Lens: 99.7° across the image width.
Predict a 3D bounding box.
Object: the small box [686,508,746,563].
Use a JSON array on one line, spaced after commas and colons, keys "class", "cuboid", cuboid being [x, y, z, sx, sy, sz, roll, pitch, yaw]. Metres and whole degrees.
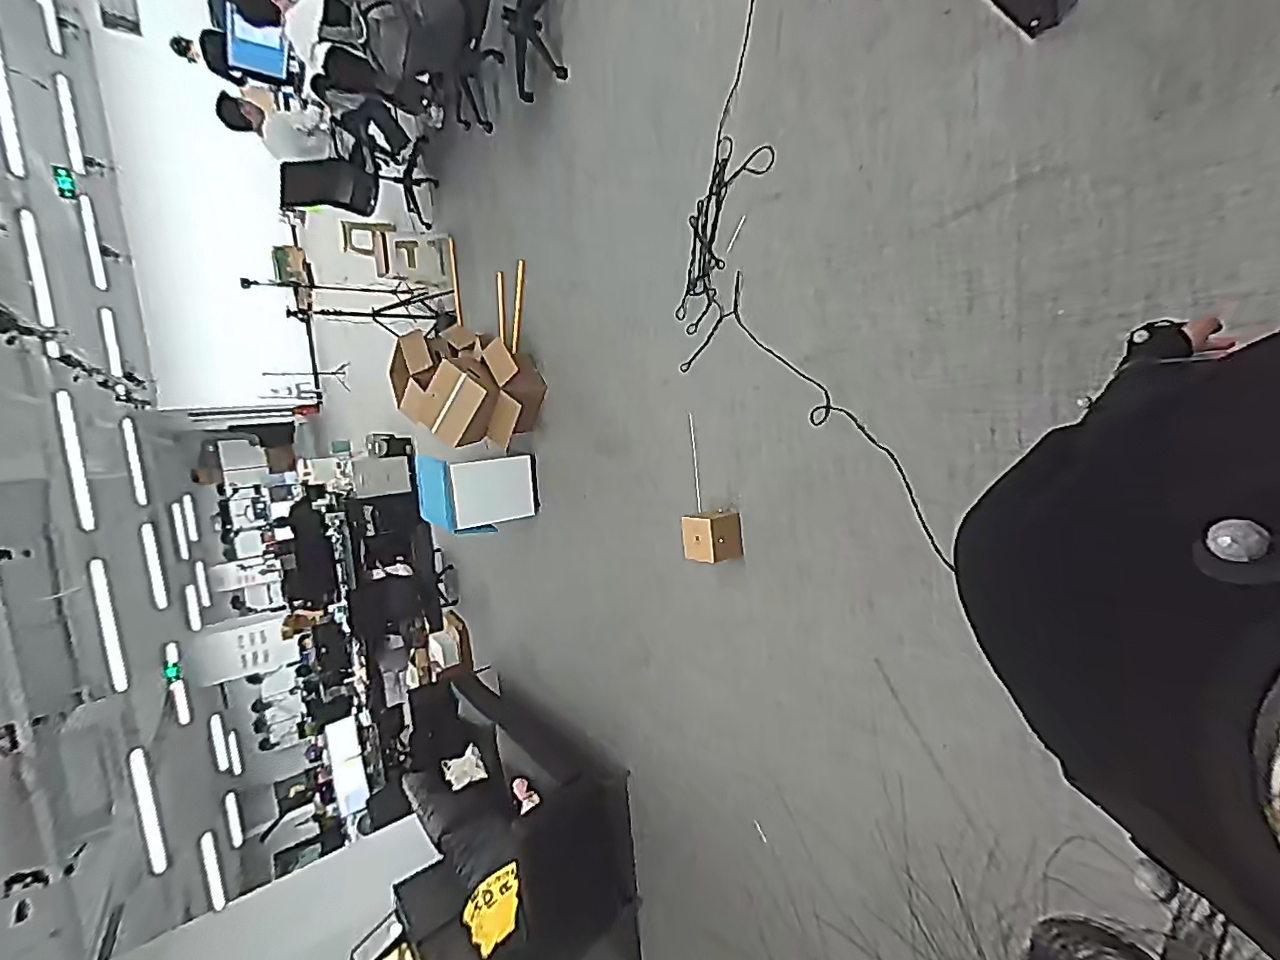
[{"class": "small box", "cuboid": [0.306, 0.216, 2.148, 0.168, 0.176, 0.179, 1, 99, 53]}]
